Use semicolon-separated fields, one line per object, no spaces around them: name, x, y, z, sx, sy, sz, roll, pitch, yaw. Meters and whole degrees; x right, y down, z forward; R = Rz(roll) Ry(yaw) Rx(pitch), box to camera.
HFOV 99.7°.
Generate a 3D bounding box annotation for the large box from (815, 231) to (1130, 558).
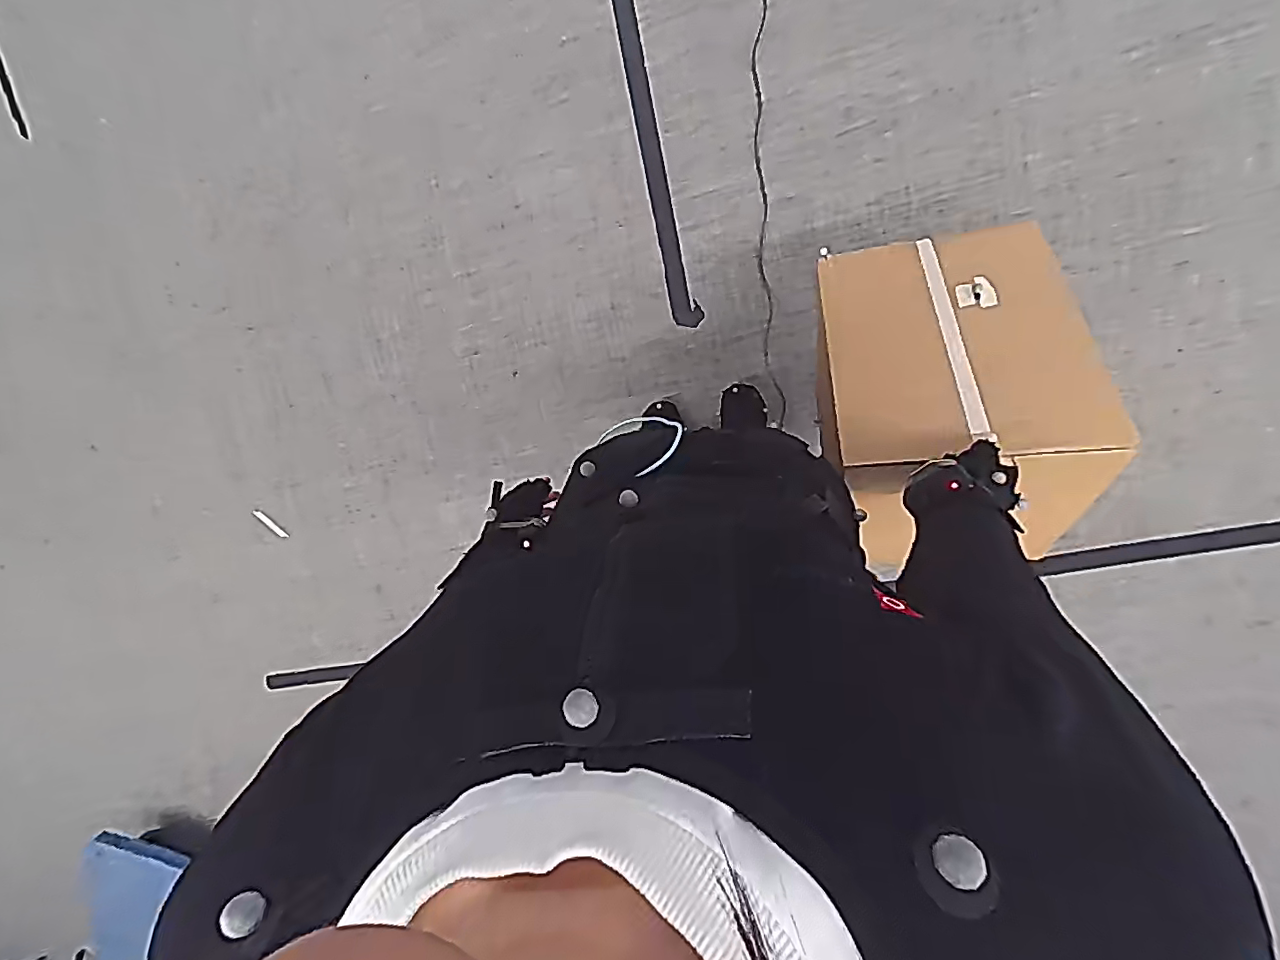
large box;0.464;-0.121;0.874;0.320;0.320;0.408;-3;58;14
